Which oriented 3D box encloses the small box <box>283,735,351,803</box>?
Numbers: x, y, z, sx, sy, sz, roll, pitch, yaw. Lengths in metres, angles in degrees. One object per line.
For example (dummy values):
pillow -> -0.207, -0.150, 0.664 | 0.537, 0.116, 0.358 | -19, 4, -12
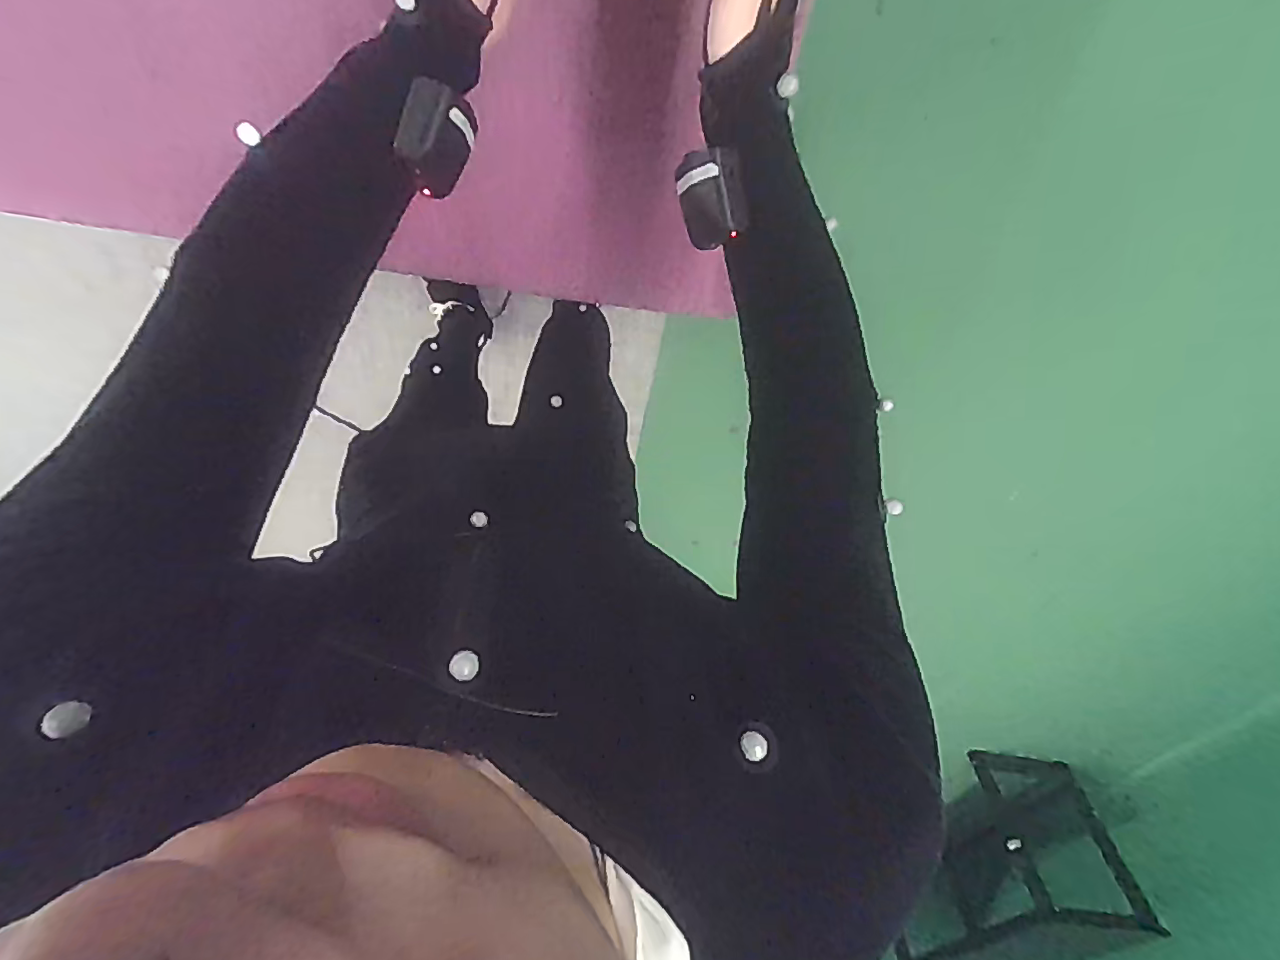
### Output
small box -> -1.239, 1.117, 2.087 | 0.168, 0.176, 0.179 | 12, 127, -7
